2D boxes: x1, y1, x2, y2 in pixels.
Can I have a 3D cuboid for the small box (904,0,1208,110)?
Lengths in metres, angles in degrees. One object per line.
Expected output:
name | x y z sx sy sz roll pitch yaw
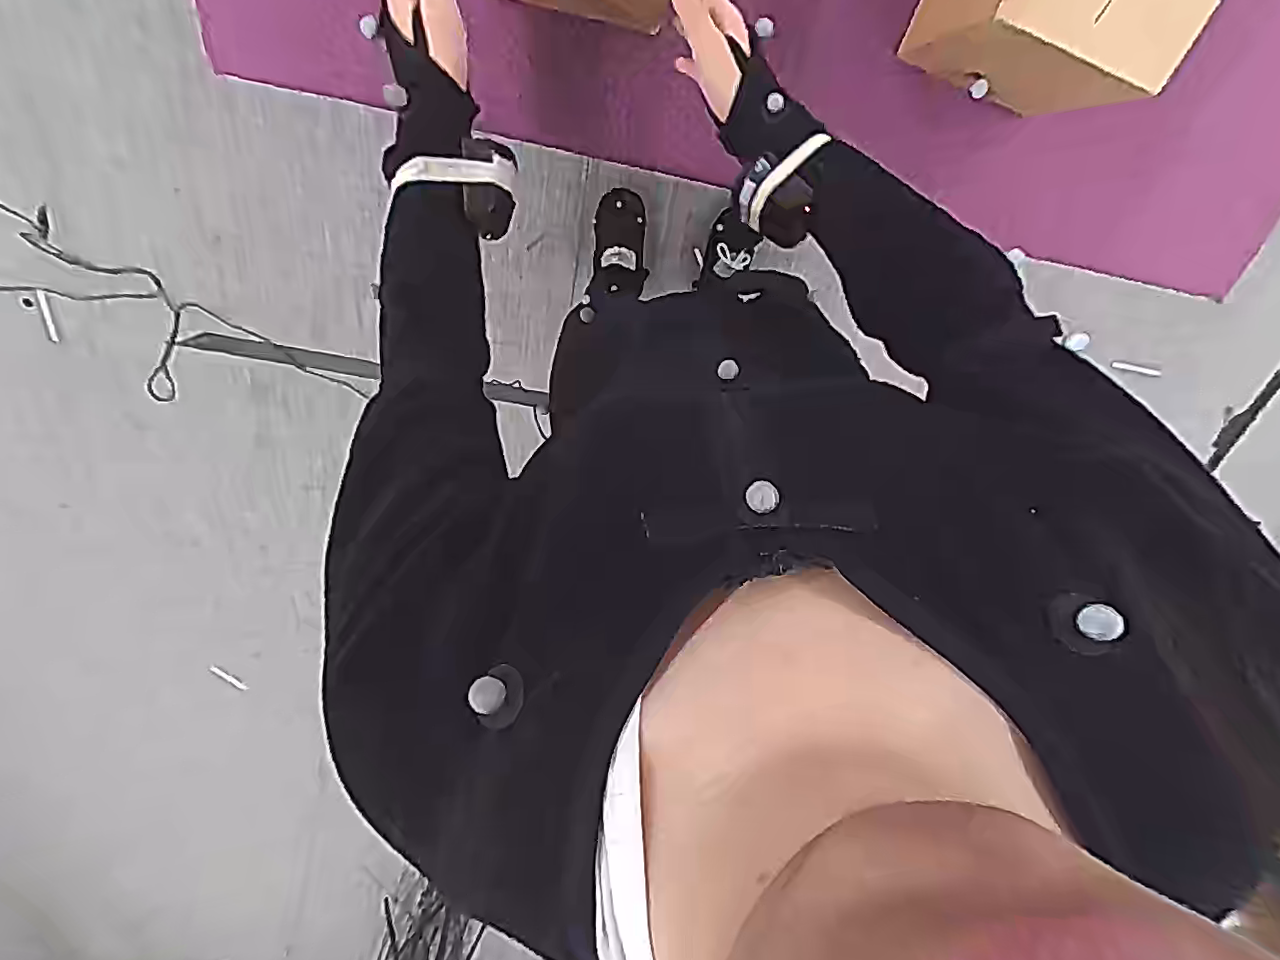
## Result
small box | 0.368 -0.452 0.466 0.168 0.176 0.179 15 118 -11

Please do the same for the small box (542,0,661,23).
small box | -0.048 -0.492 0.421 0.179 0.176 0.168 9 119 -8
